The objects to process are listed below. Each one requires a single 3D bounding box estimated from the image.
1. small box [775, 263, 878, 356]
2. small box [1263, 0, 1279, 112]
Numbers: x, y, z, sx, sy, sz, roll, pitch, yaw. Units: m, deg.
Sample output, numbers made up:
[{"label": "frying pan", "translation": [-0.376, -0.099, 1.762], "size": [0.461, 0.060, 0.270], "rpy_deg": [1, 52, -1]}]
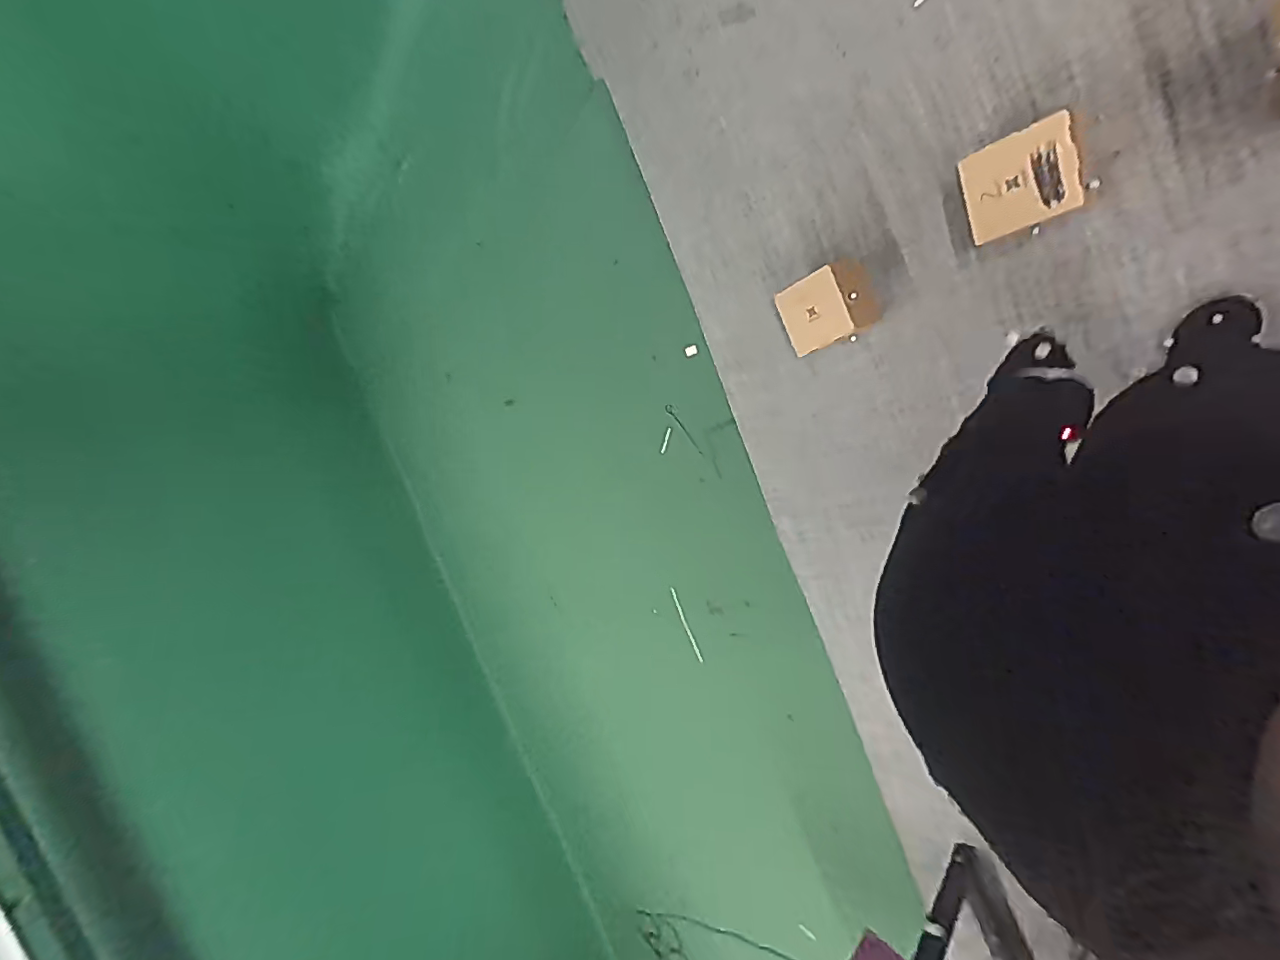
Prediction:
[{"label": "small box", "translation": [0.489, -0.445, 1.406], "size": [0.168, 0.176, 0.179], "rpy_deg": [-19, 94, 48]}, {"label": "small box", "translation": [1.016, -0.635, 0.757], "size": [0.168, 0.176, 0.179], "rpy_deg": [-13, 100, 48]}]
